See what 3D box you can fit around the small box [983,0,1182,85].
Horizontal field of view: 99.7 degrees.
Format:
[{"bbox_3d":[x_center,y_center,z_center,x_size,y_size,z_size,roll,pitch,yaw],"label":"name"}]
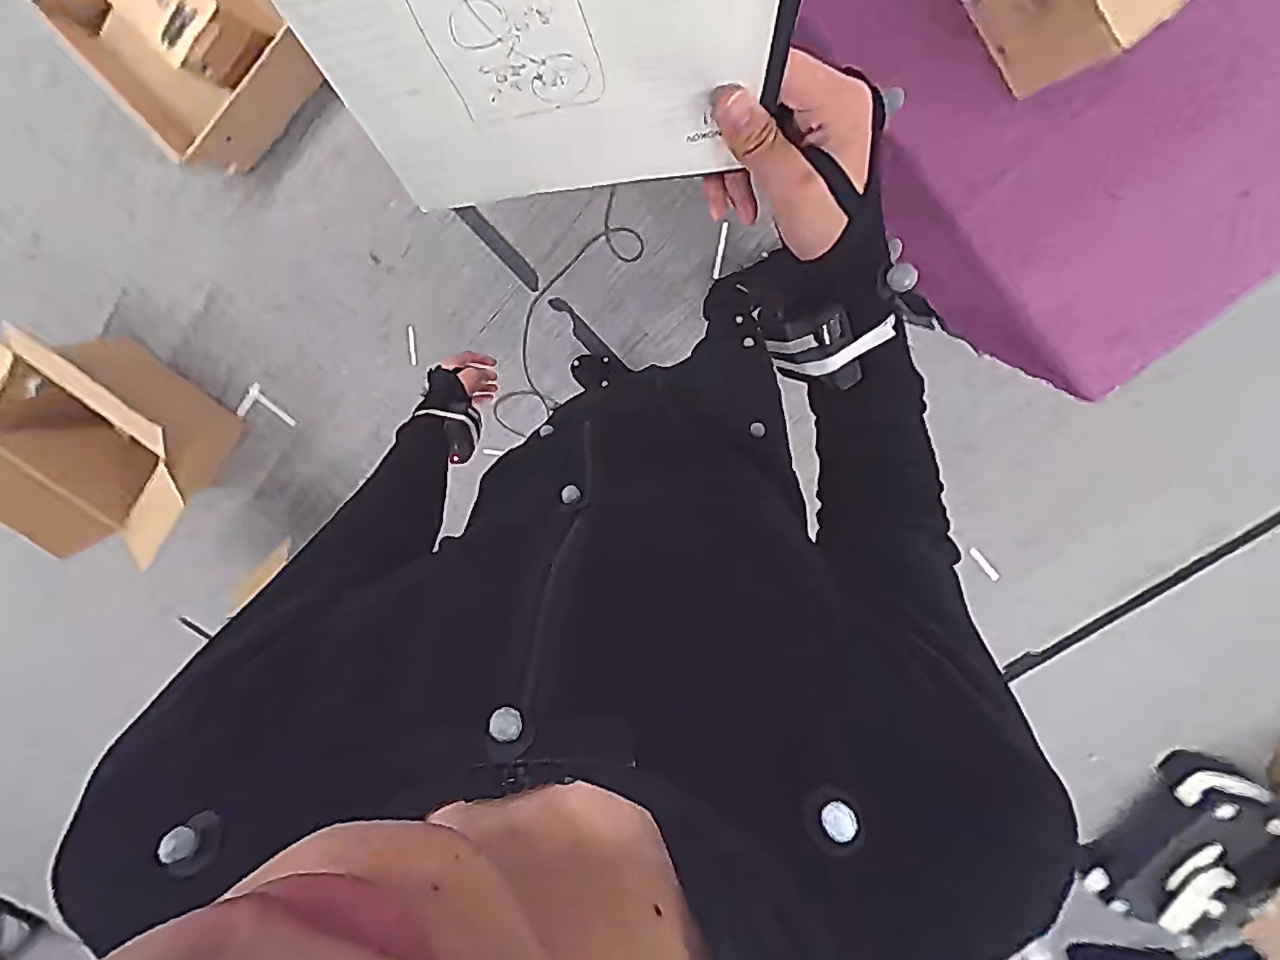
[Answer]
[{"bbox_3d":[0.468,-0.541,0.530,0.179,0.176,0.168,-38,106,17],"label":"small box"}]
